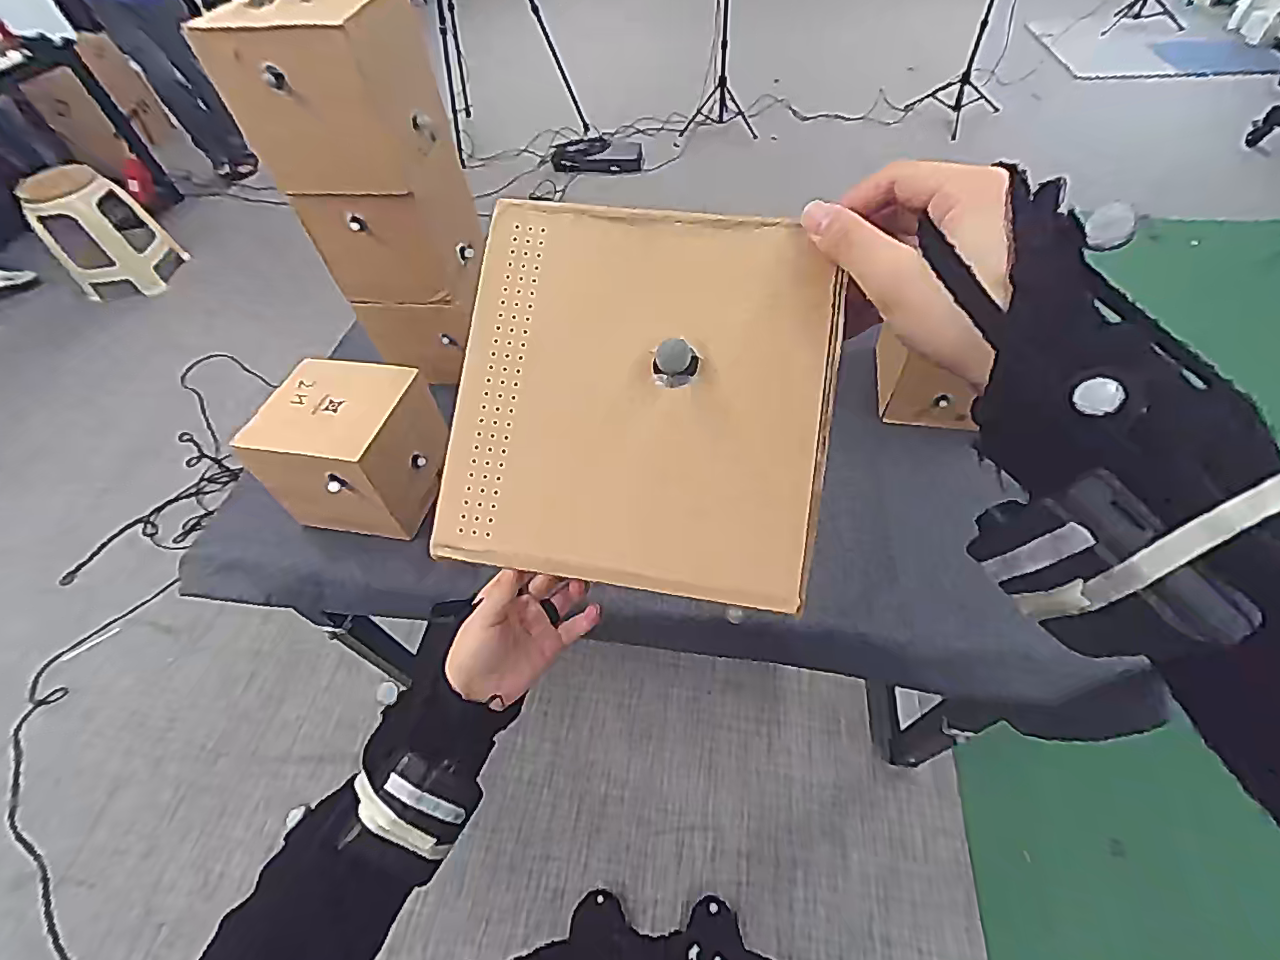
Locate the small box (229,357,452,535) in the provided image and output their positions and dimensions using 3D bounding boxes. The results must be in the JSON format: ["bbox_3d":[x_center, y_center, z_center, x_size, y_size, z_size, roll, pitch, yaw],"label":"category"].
[{"bbox_3d":[-0.382,-0.043,0.733,0.179,0.176,0.168,7,52,9],"label":"small box"}]

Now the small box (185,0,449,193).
[{"bbox_3d":[-0.357,-0.463,0.640,0.179,0.176,0.168,4,56,6],"label":"small box"}]

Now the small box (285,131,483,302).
[{"bbox_3d":[-0.350,-0.376,0.779,0.179,0.176,0.168,3,56,5],"label":"small box"}]

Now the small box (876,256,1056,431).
[{"bbox_3d":[0.452,-0.197,0.786,0.168,0.176,0.179,7,56,10],"label":"small box"}]

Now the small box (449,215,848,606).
[{"bbox_3d":[0.008,-0.032,0.320,0.176,0.168,0.179,8,84,8],"label":"small box"}]
